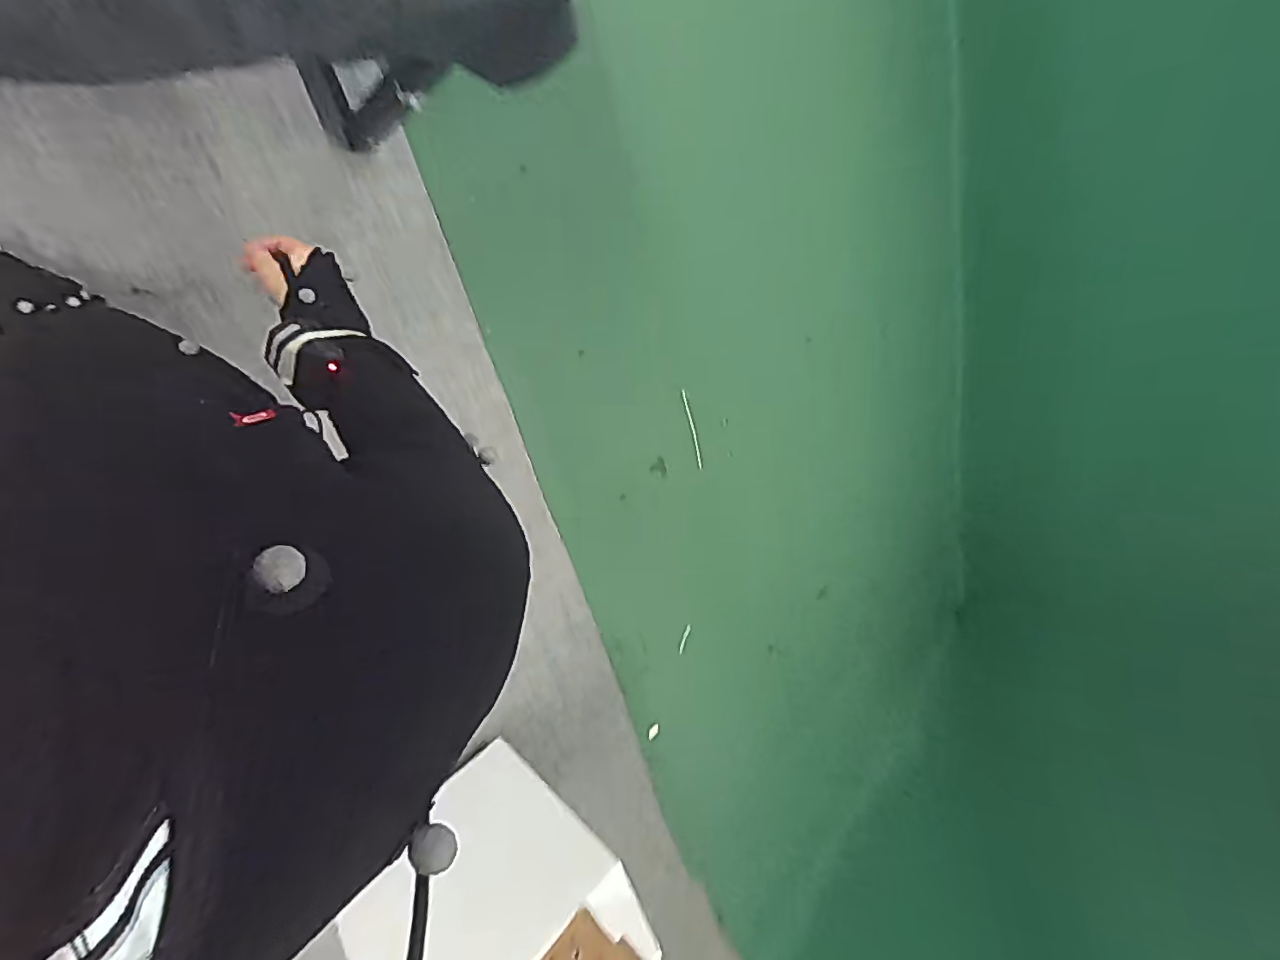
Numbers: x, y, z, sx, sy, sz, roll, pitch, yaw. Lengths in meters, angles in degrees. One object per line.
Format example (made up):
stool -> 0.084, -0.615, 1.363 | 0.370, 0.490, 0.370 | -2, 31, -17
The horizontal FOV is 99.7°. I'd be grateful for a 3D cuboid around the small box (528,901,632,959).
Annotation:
small box -> -0.098, 0.990, 1.063 | 0.168, 0.176, 0.179 | -38, 123, -30
